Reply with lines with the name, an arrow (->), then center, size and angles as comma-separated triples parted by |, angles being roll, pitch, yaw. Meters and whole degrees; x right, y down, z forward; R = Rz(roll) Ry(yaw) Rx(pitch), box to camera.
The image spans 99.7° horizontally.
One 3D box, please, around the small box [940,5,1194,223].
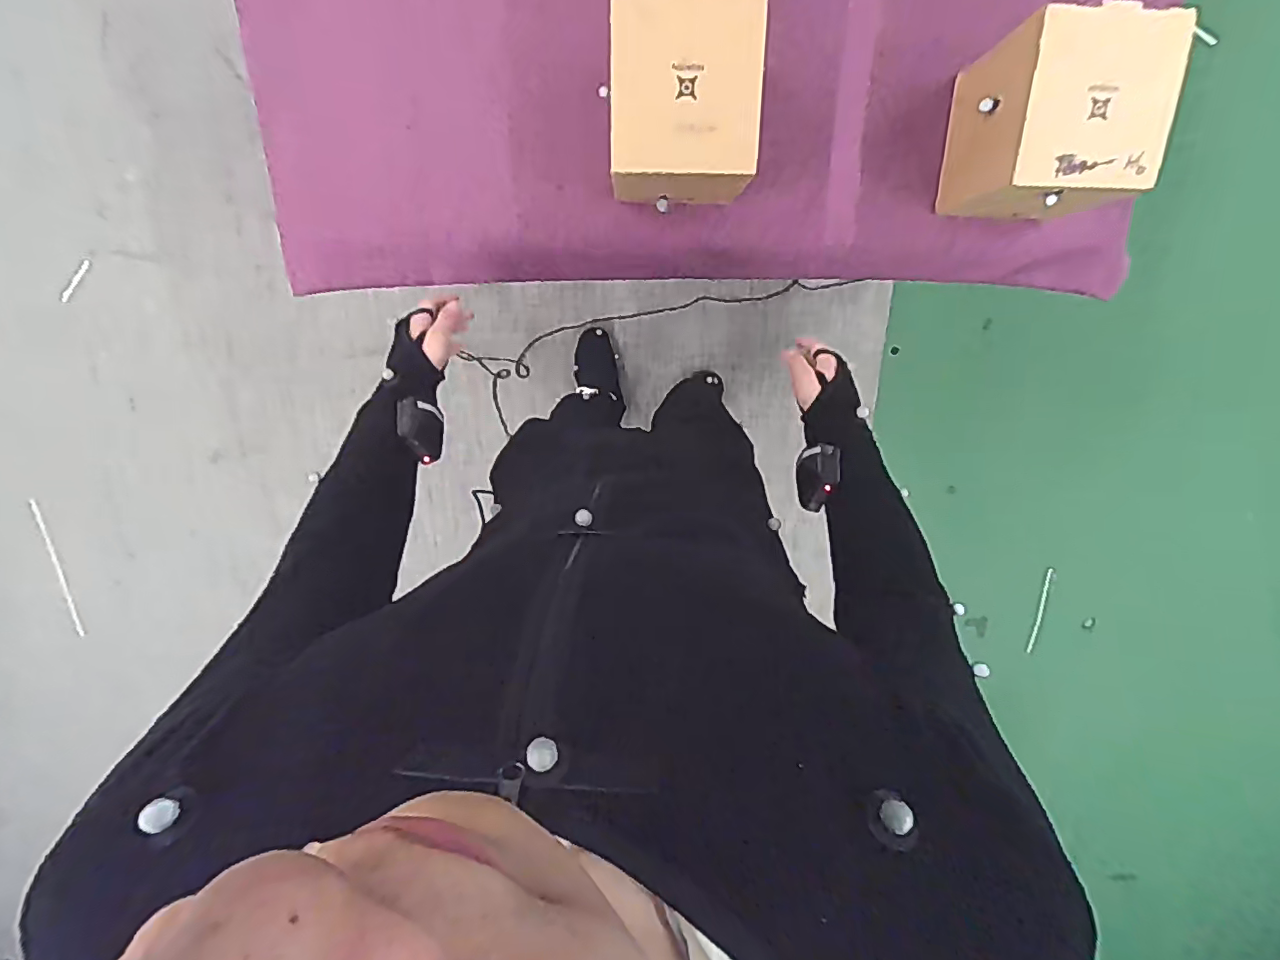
small box -> 0.504, -0.434, 0.670 | 0.168, 0.176, 0.179 | 2, 105, -1
